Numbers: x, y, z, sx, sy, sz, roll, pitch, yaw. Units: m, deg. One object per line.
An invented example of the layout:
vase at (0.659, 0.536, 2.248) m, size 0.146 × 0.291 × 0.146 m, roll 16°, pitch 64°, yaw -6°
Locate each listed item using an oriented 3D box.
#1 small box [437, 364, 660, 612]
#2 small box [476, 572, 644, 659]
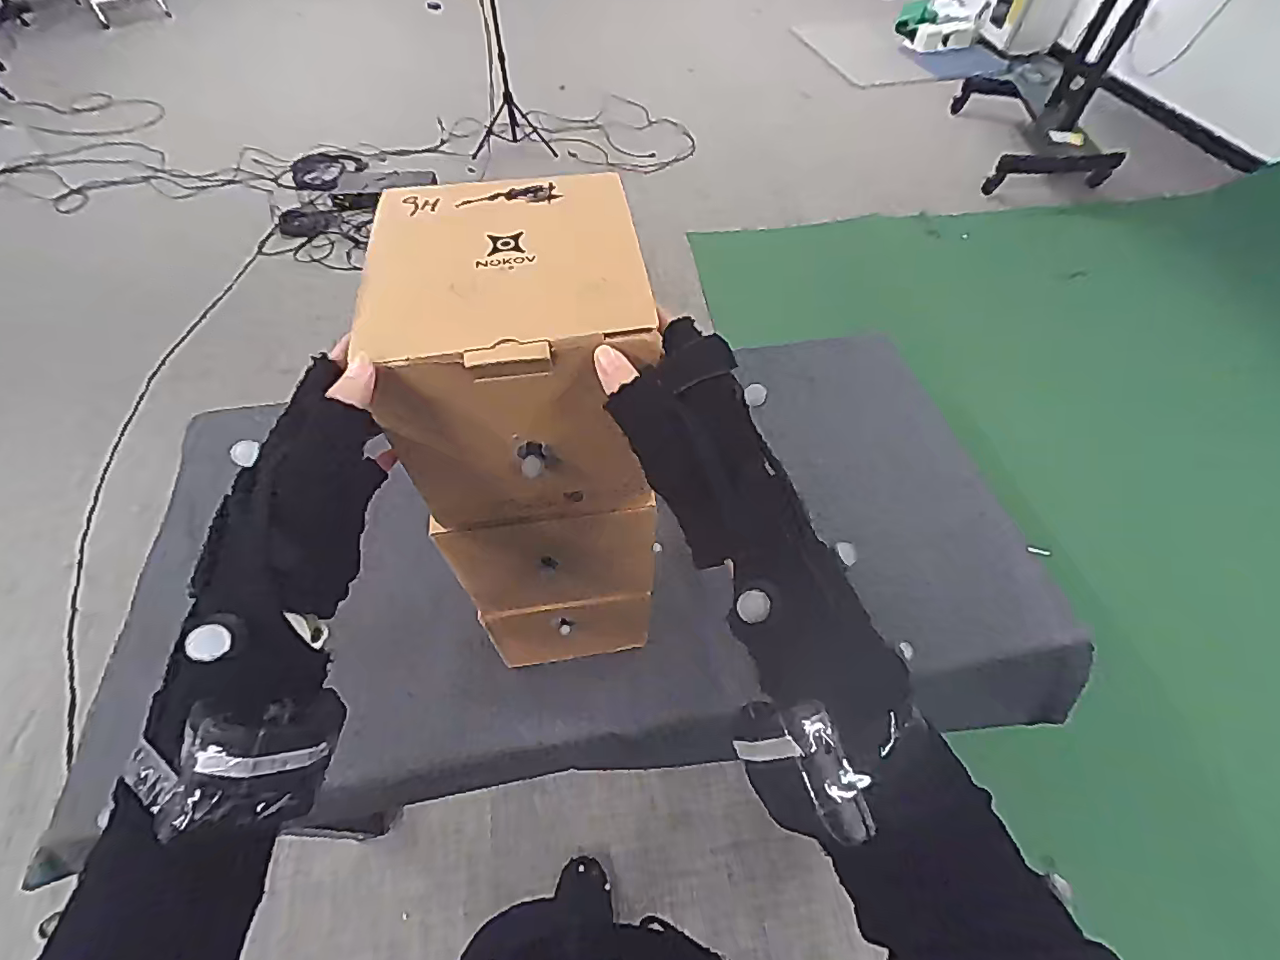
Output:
small box at (-0.086, 0.012, 0.527) m, size 0.179 × 0.176 × 0.168 m, roll -9°, pitch 57°, yaw -8°
small box at (-0.093, 0.107, 0.661) m, size 0.179 × 0.176 × 0.168 m, roll -7°, pitch 56°, yaw -7°
